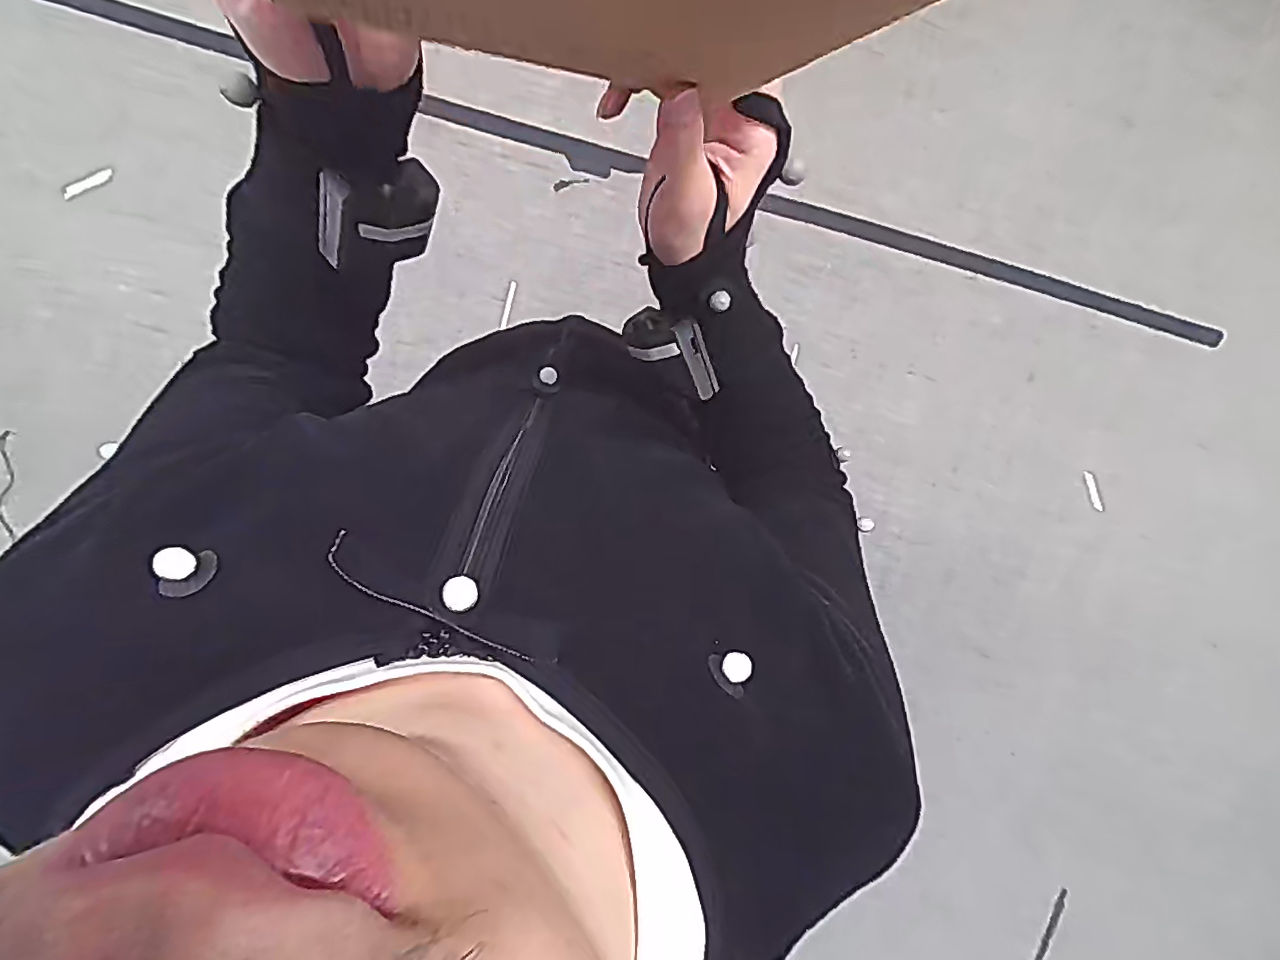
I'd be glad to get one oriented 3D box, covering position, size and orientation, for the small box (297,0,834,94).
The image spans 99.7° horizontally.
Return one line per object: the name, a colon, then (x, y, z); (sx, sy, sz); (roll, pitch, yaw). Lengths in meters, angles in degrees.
small box: (-0.017, -0.216, 0.127); (0.179, 0.176, 0.168); (-3, 114, -19)
